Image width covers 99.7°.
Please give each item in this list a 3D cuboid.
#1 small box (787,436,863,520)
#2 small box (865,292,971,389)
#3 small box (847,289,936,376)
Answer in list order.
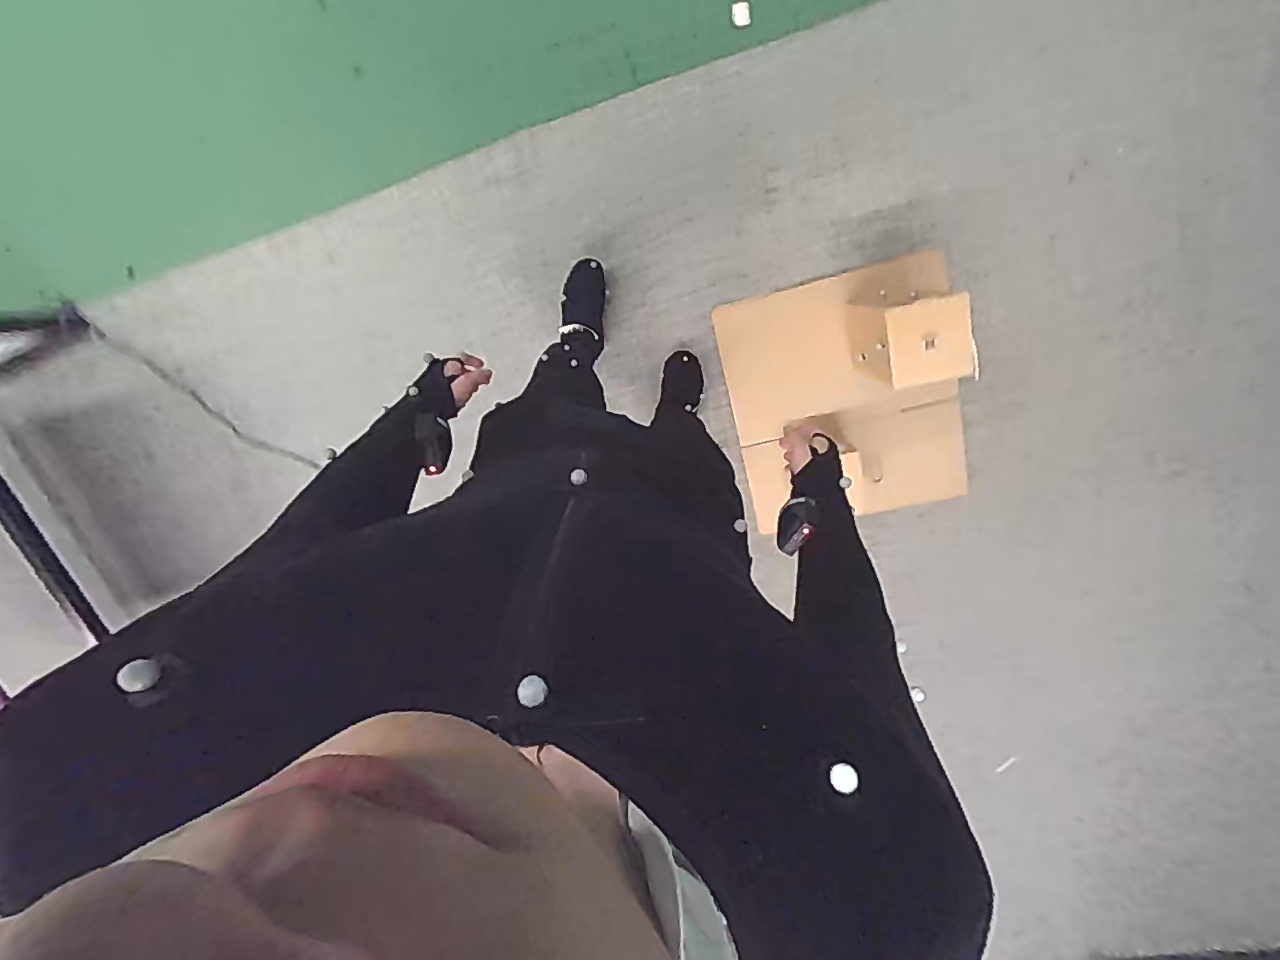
[{"bbox_3d":[0.513,-0.010,1.513,0.168,0.176,0.179,-10,107,9],"label":"small box"},{"bbox_3d":[0.621,-0.320,1.220,0.168,0.176,0.179,-11,107,10],"label":"small box"},{"bbox_3d":[0.636,-0.378,1.370,0.168,0.176,0.179,-11,107,9],"label":"small box"}]
